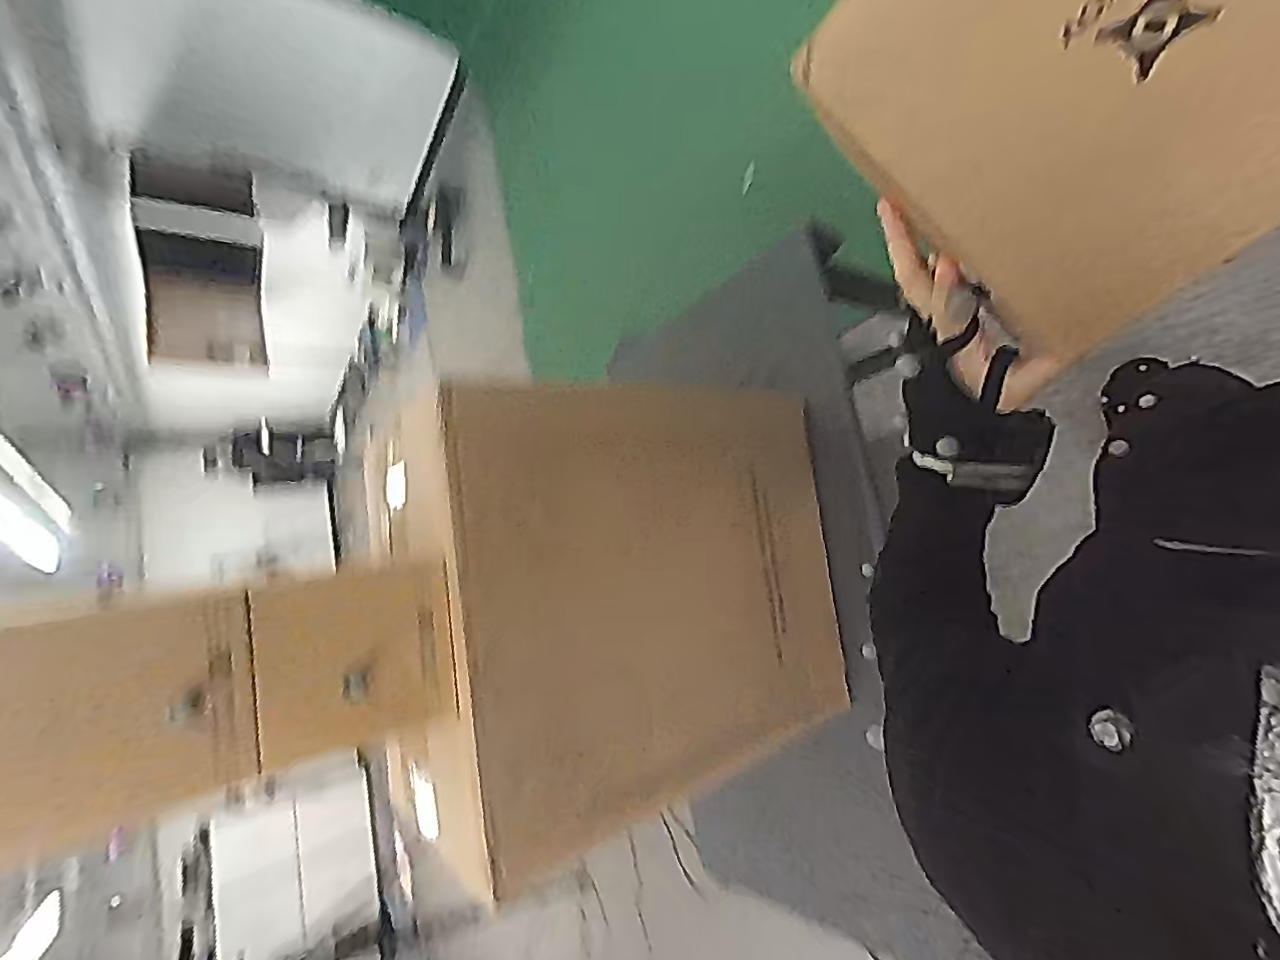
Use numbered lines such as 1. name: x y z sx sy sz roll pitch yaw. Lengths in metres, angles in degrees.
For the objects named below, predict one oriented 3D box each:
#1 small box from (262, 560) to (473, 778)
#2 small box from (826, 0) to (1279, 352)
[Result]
1. small box: -0.285 0.179 0.573 0.179 0.176 0.168 -14 82 51
2. small box: 0.224 -0.187 0.258 0.168 0.176 0.179 -42 83 33
